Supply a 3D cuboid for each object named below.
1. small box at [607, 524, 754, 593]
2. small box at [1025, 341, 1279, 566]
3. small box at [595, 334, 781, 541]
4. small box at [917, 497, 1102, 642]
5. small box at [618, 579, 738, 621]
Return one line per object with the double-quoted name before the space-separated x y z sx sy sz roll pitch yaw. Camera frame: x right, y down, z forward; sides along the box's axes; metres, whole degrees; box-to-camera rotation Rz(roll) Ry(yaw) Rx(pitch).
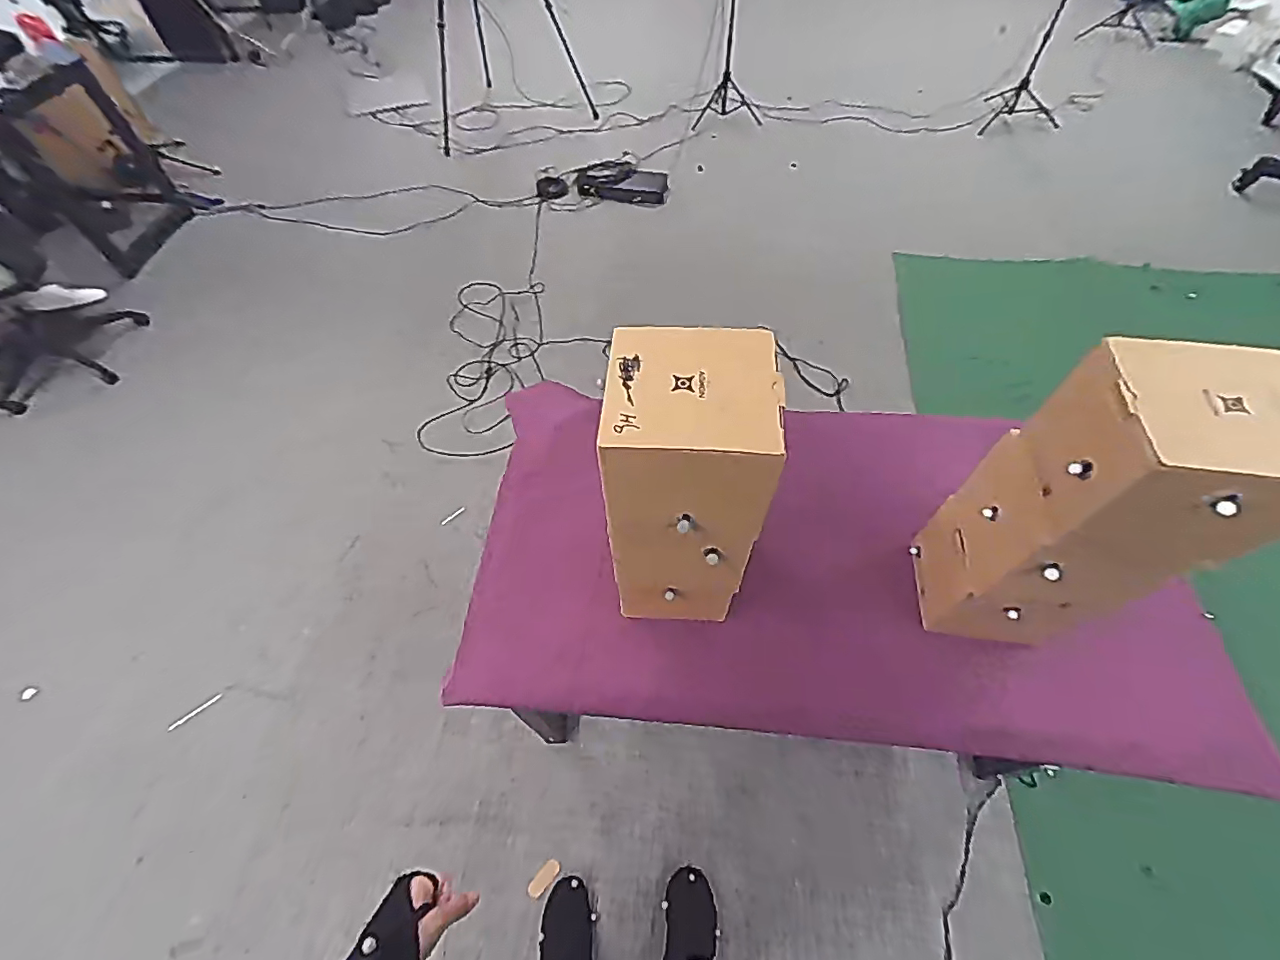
"small box" 0.057 0.046 0.748 0.179 0.176 0.168 3 56 5
"small box" 0.545 -0.023 0.572 0.179 0.176 0.168 7 57 8
"small box" 0.052 -0.042 0.610 0.179 0.176 0.168 3 56 4
"small box" 0.559 0.145 0.853 0.179 0.176 0.168 6 56 6
"small box" 0.062 0.126 0.893 0.179 0.176 0.168 1 56 4
